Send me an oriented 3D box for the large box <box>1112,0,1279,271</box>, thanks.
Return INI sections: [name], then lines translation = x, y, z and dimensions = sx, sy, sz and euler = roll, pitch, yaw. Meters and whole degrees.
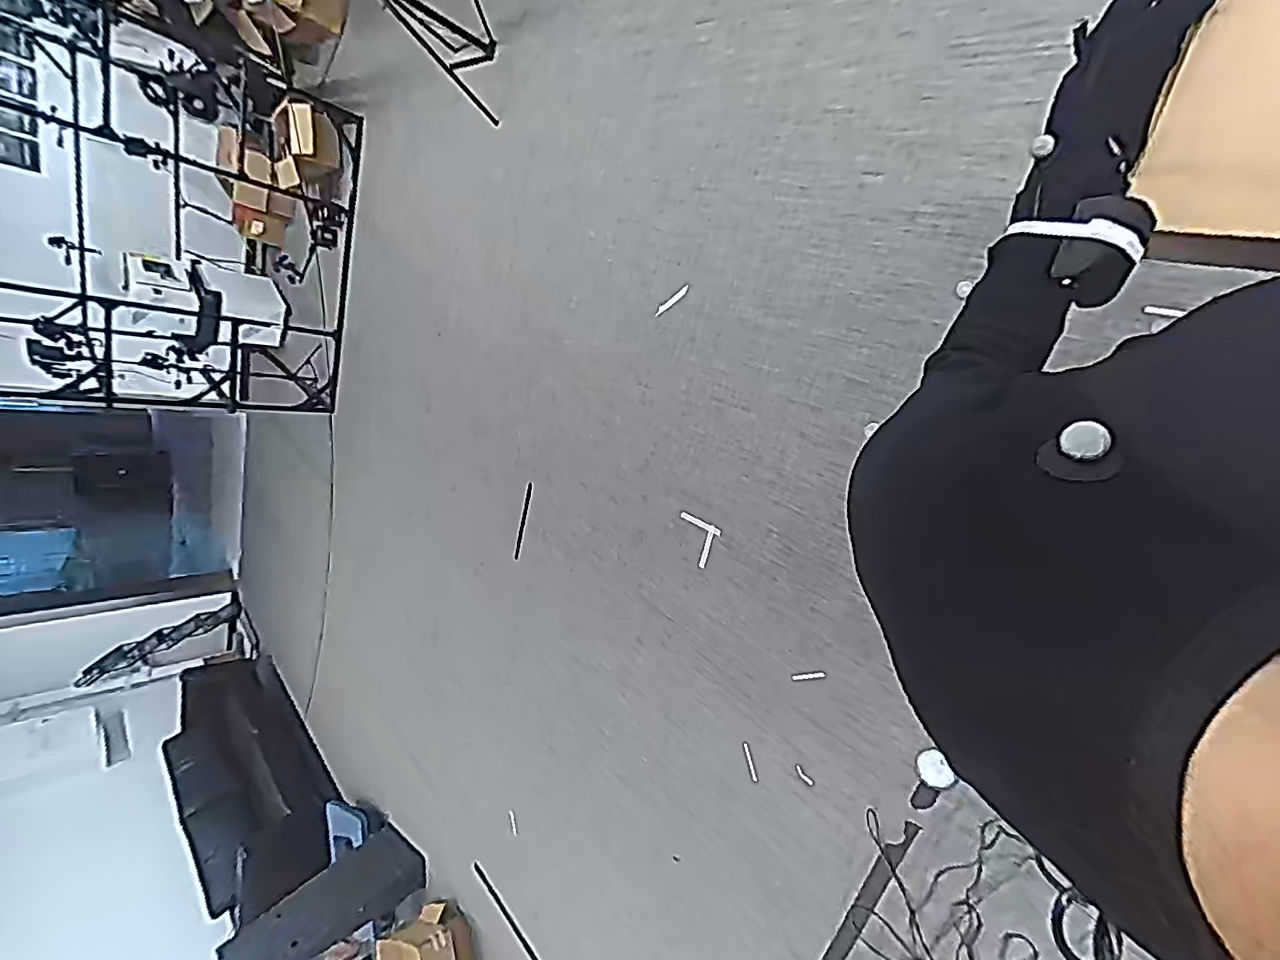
[large box]
translation = 0.641, -0.310, 0.374
dimensions = 0.408, 0.320, 0.320
euler = 25, 120, 35
